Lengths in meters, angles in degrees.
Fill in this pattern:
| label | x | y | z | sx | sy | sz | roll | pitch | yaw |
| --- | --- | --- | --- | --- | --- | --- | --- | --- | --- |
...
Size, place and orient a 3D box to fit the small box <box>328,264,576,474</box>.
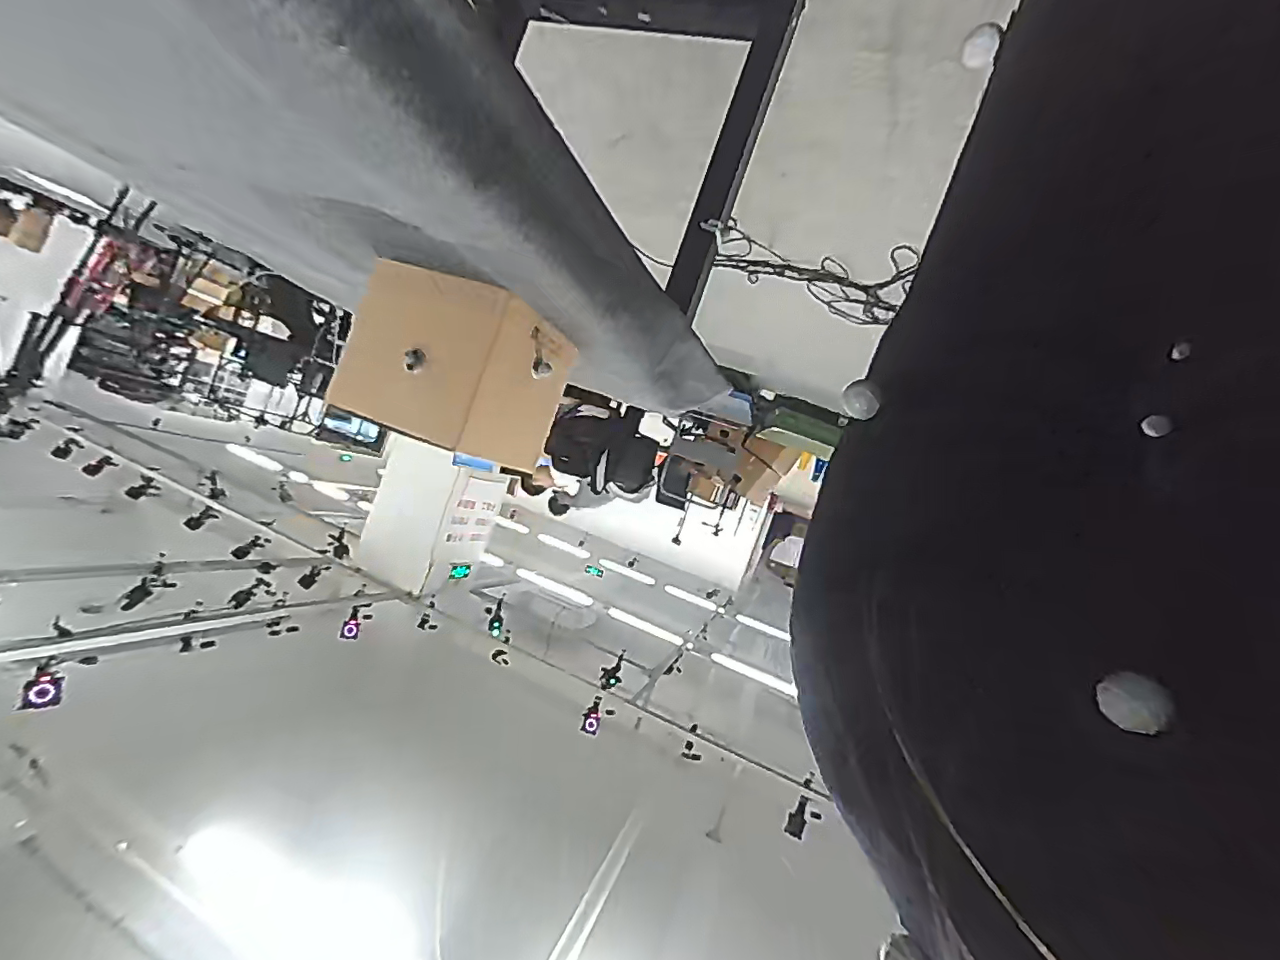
| label | x | y | z | sx | sy | sz | roll | pitch | yaw |
| --- | --- | --- | --- | --- | --- | --- | --- | --- | --- |
| small box | -0.200 | -0.121 | 0.613 | 0.179 | 0.176 | 0.168 | 19 | 179 | 18 |
